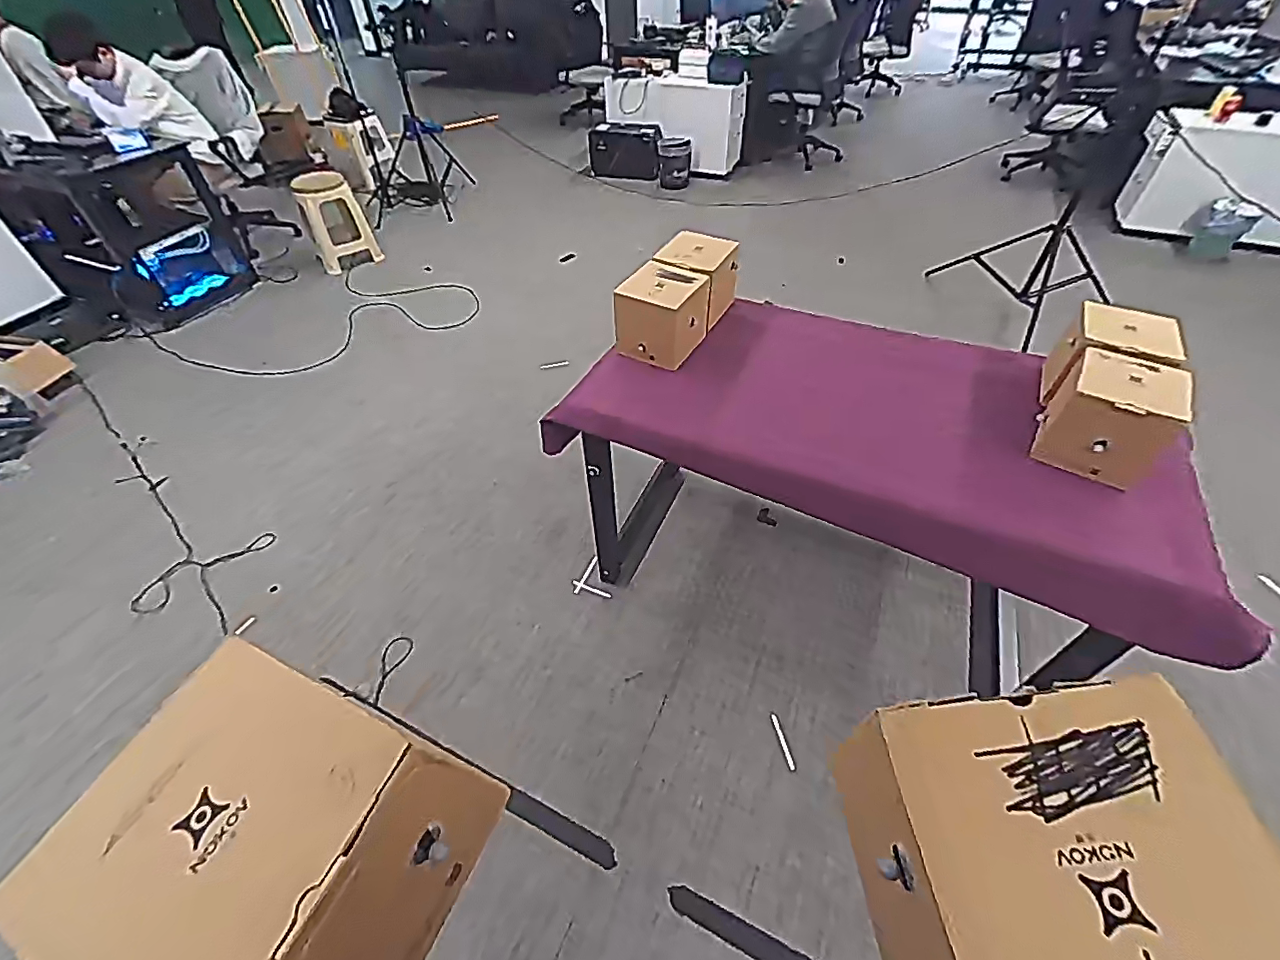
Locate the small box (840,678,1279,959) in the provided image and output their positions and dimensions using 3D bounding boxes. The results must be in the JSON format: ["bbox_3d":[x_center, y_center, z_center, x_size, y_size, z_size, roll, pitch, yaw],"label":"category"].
[{"bbox_3d":[0.237,0.238,0.328,0.168,0.176,0.179,-8,56,3],"label":"small box"}]

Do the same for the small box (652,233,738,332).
[{"bbox_3d":[0.141,-0.519,1.419,0.168,0.176,0.179,22,52,20],"label":"small box"}]

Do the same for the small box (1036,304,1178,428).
[{"bbox_3d":[0.971,-0.241,1.141,0.168,0.176,0.179,22,50,20],"label":"small box"}]

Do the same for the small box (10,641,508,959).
[{"bbox_3d":[-0.218,0.240,0.363,0.179,0.176,0.168,15,55,22],"label":"small box"}]
